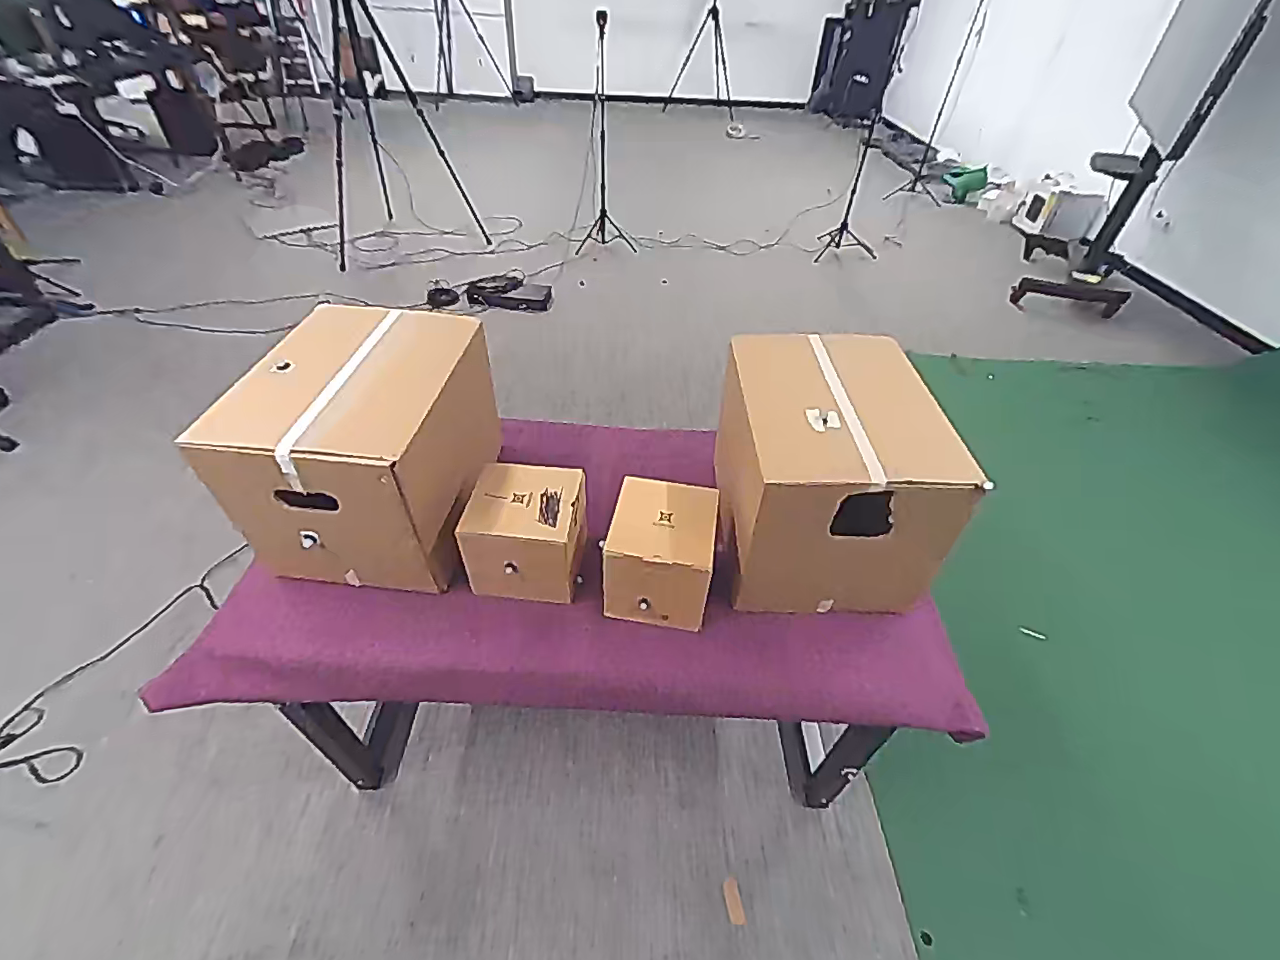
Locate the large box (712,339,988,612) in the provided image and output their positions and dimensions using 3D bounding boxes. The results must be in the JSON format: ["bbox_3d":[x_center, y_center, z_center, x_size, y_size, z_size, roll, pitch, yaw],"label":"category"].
[{"bbox_3d":[0.319,-0.015,0.977,0.320,0.320,0.408,0,44,0],"label":"large box"}]
